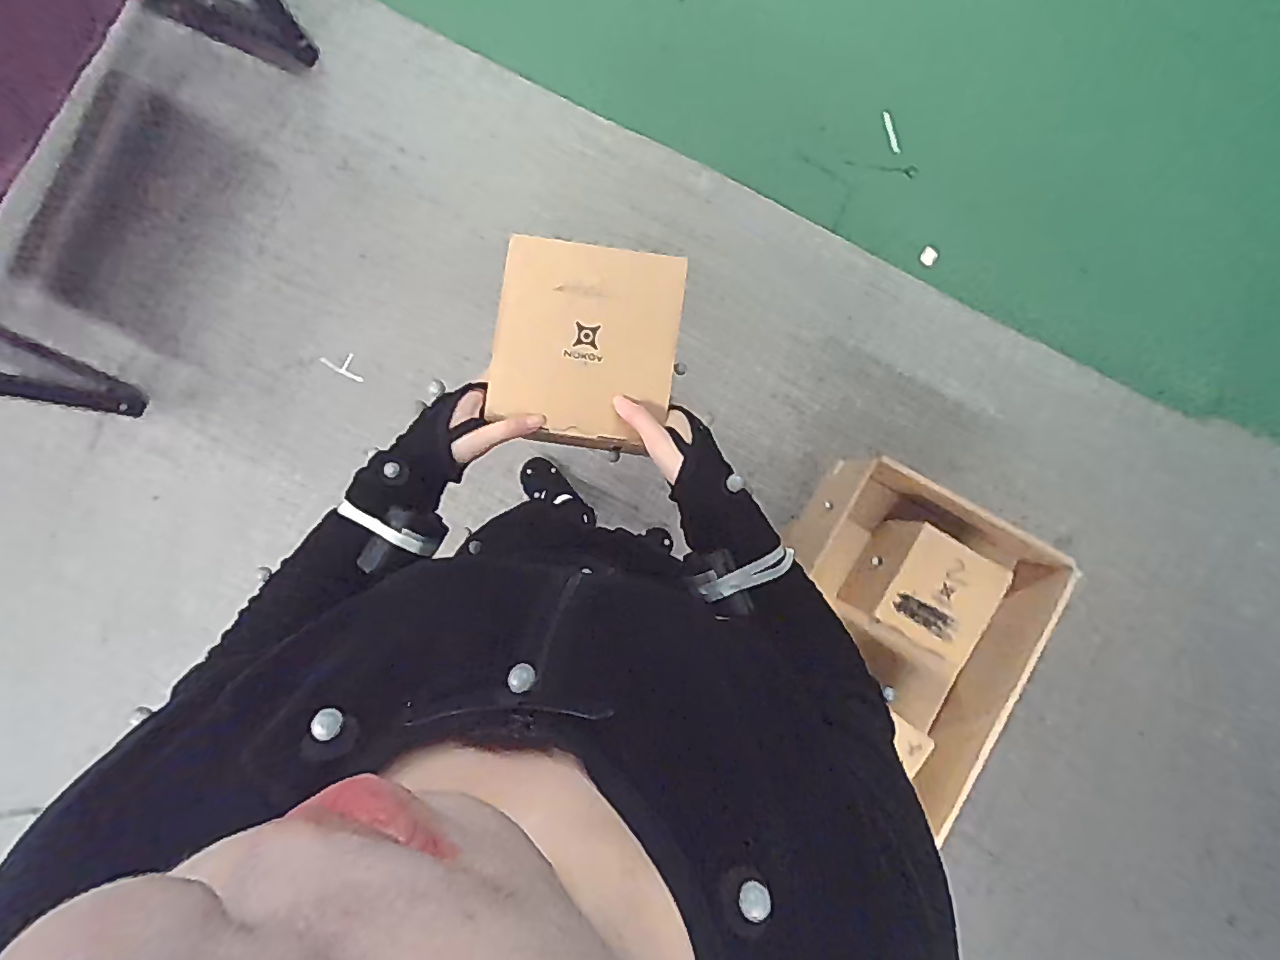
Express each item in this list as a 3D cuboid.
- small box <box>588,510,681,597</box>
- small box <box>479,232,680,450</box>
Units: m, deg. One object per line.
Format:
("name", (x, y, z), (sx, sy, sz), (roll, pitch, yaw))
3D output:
("small box", (-0.014, 0.200, 1.416), (0.179, 0.176, 0.168), (22, 57, -29))
("small box", (-0.054, -0.129, 0.572), (0.168, 0.176, 0.179), (8, 89, 0))
